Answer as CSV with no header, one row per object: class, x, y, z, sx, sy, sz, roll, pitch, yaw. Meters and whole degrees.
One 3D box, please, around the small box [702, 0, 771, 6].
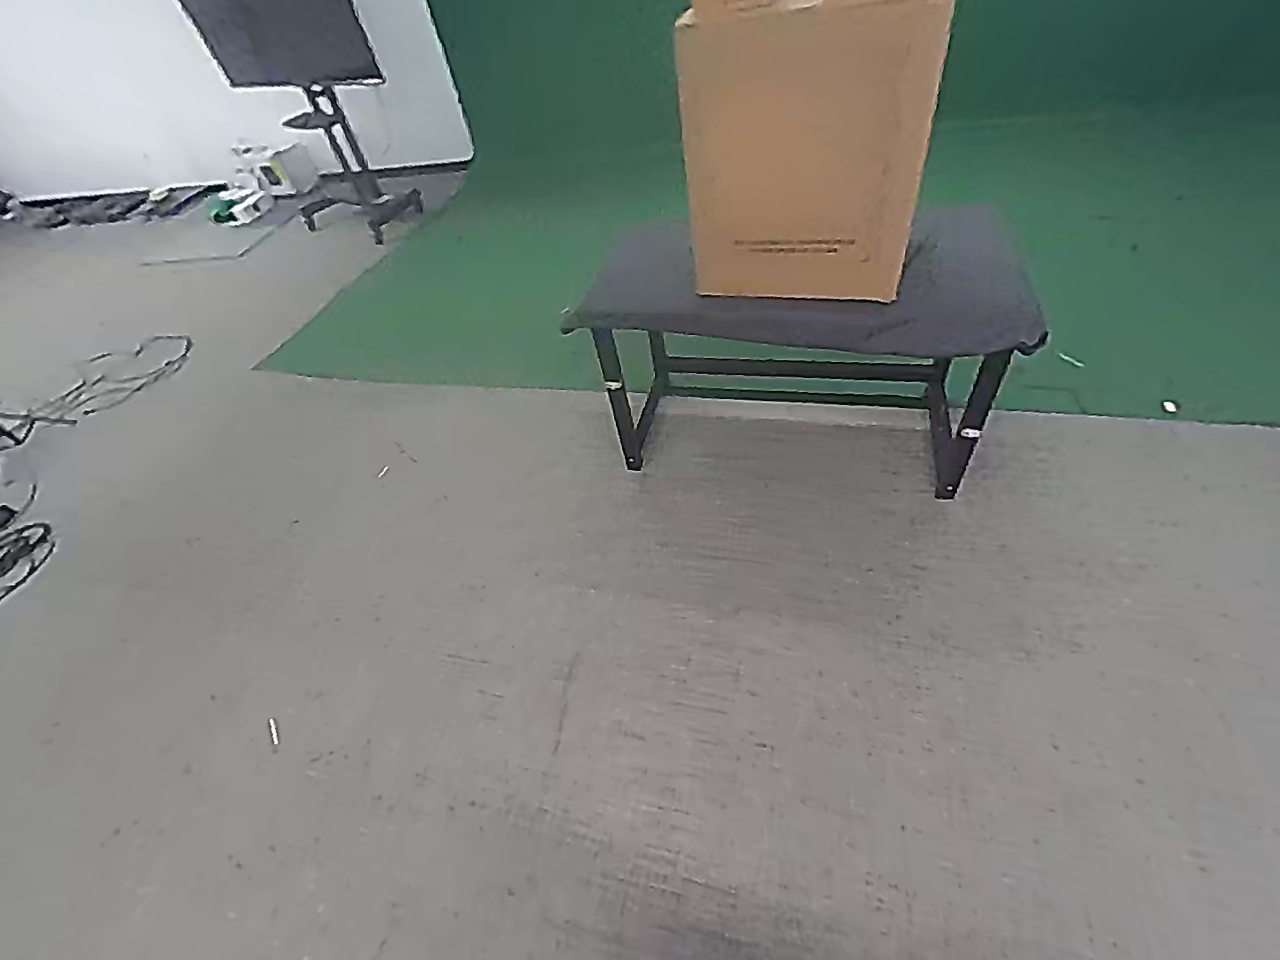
small box,0.216,-1.078,1.078,0.168,0.176,0.179,10,54,20
